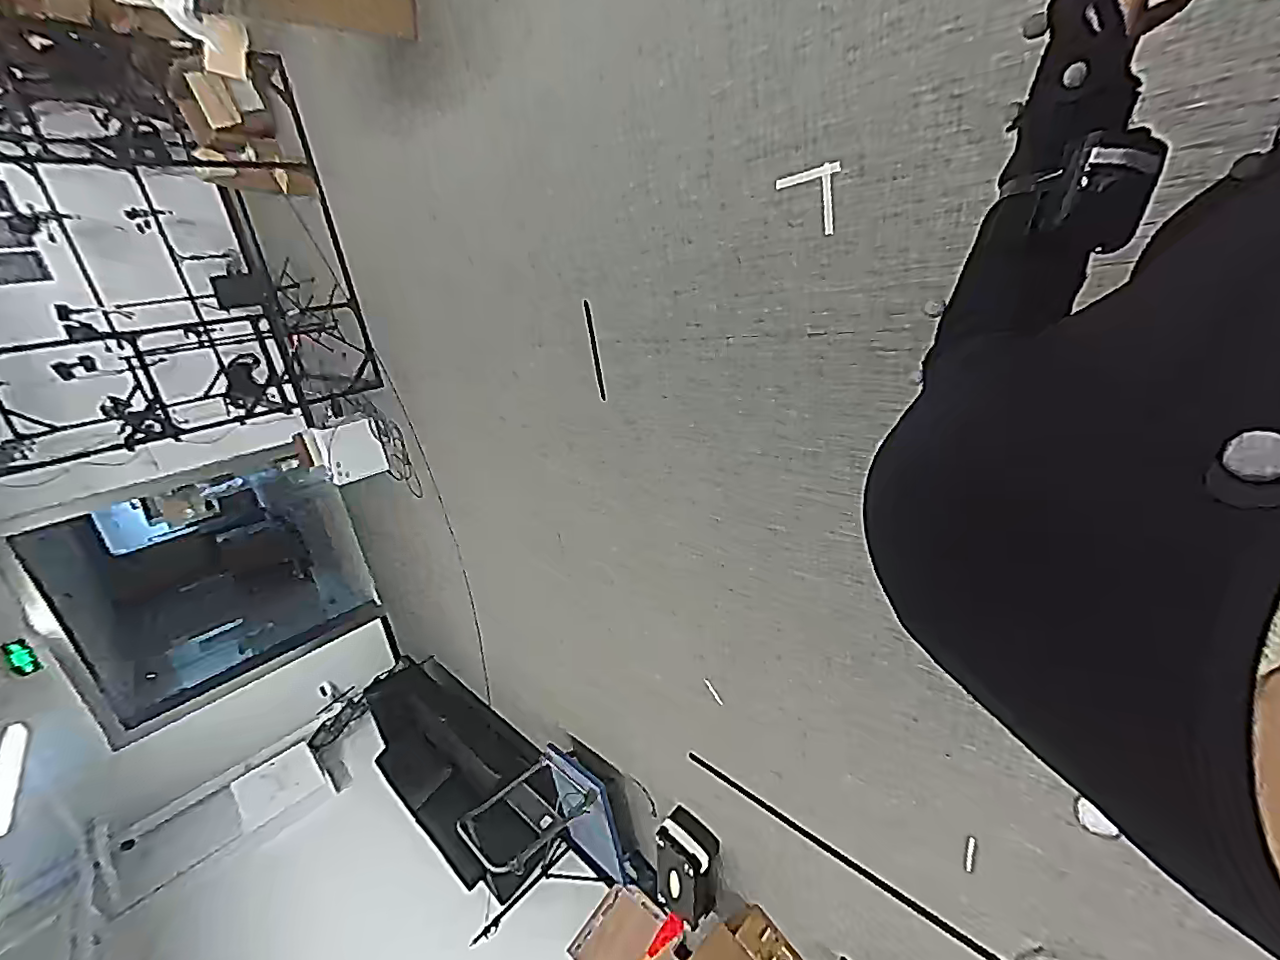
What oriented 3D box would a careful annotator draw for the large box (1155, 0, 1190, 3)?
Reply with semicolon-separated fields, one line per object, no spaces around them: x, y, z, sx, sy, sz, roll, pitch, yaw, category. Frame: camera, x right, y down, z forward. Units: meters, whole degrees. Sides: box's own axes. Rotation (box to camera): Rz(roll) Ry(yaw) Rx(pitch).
0.397;-0.378;0.110;0.408;0.320;0.320;12;128;40;large box
